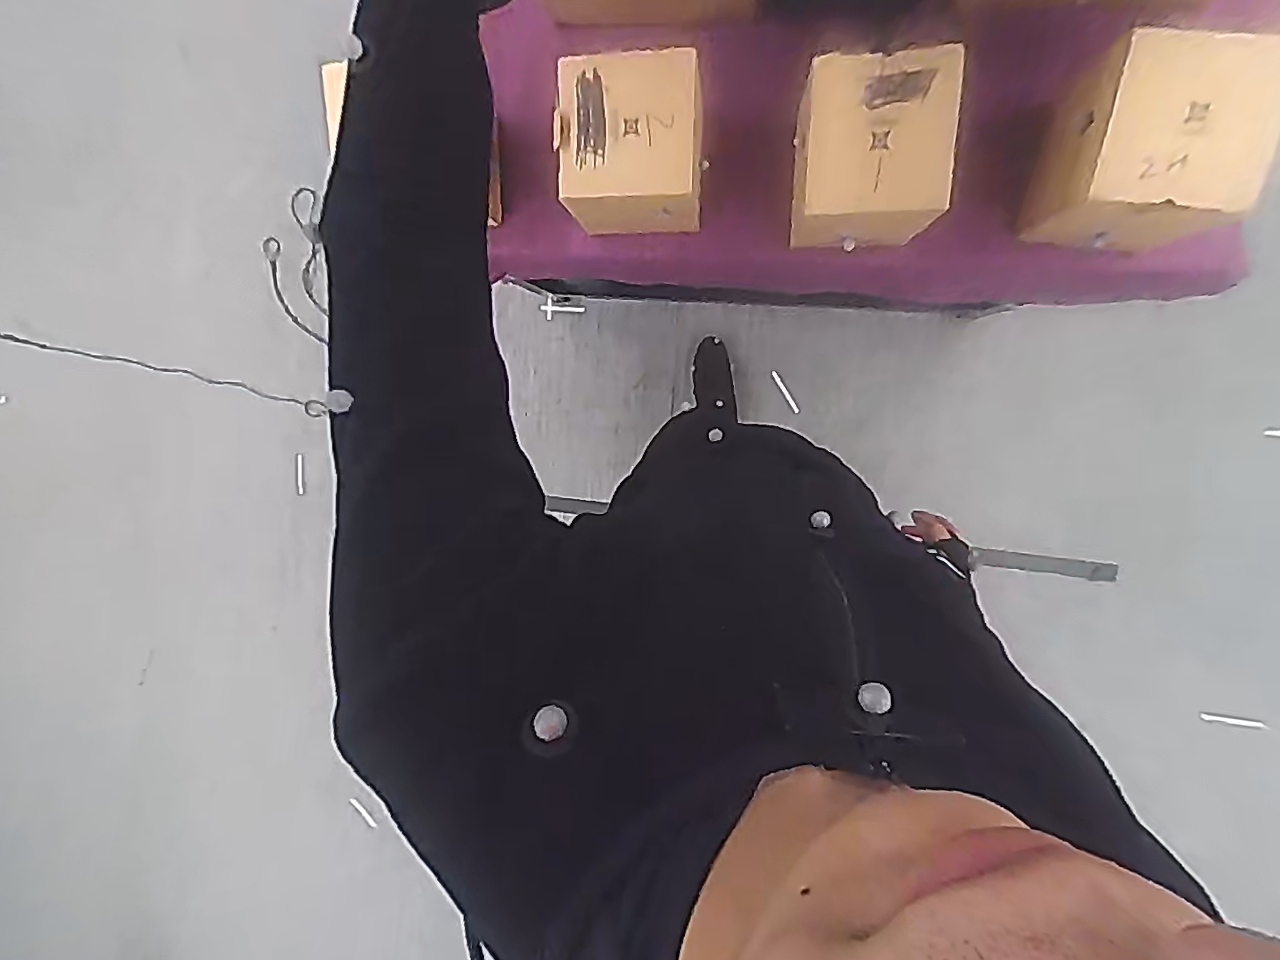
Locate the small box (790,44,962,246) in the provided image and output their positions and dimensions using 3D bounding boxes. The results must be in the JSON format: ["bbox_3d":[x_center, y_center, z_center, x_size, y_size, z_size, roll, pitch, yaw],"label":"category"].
[{"bbox_3d":[0.290,-0.418,0.705,0.168,0.176,0.179,3,102,10],"label":"small box"}]

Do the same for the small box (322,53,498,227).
[{"bbox_3d":[-0.327,-0.484,0.798,0.179,0.176,0.168,1,100,8],"label":"small box"}]
